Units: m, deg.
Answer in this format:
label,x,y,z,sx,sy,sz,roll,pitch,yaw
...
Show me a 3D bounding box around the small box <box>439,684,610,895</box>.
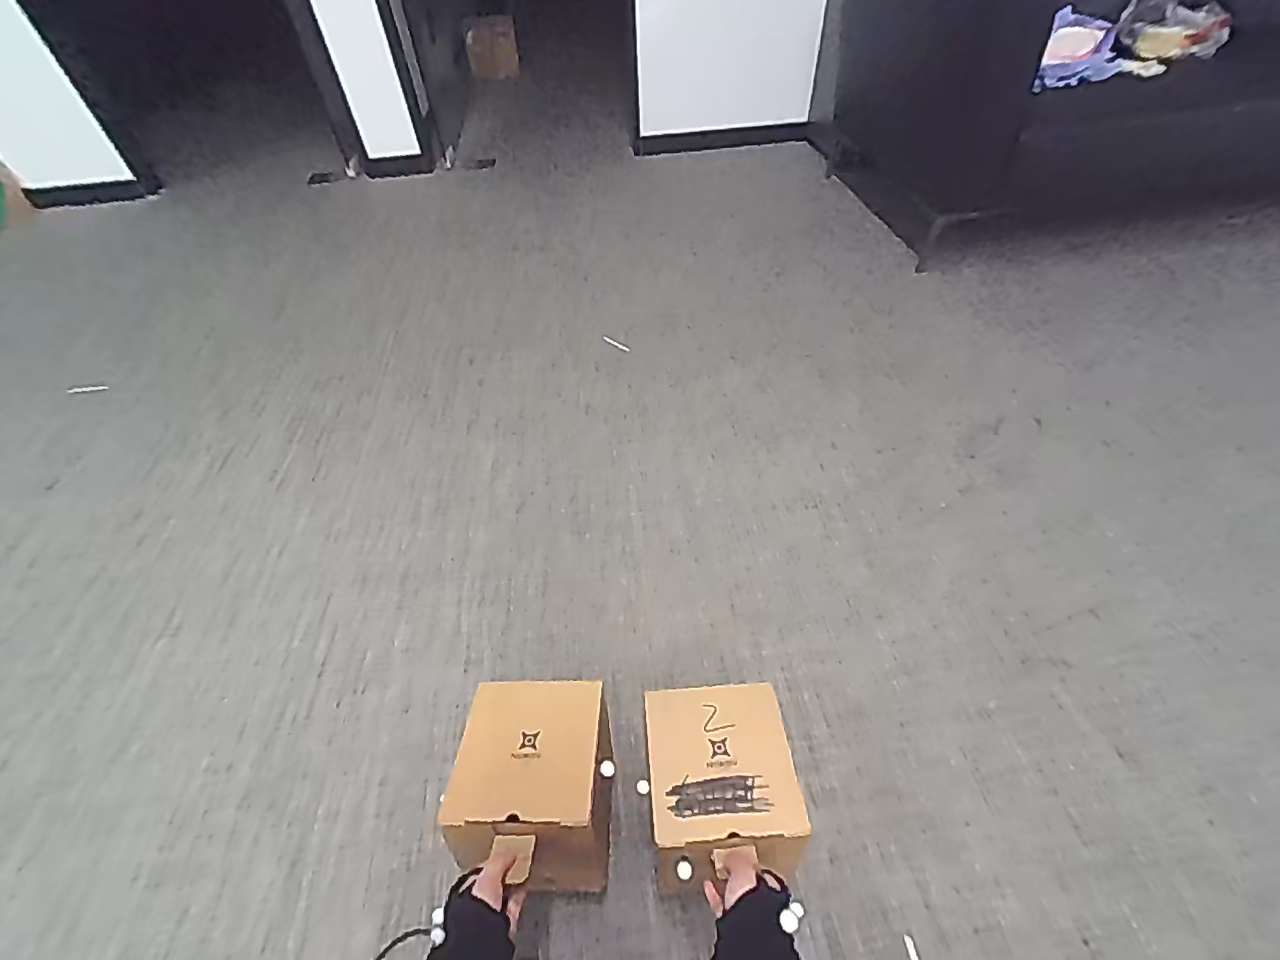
label,x,y,z,sx,sy,sz,roll,pitch,yaw
small box,-0.129,0.386,0.687,0.168,0.176,0.179,0,34,4
